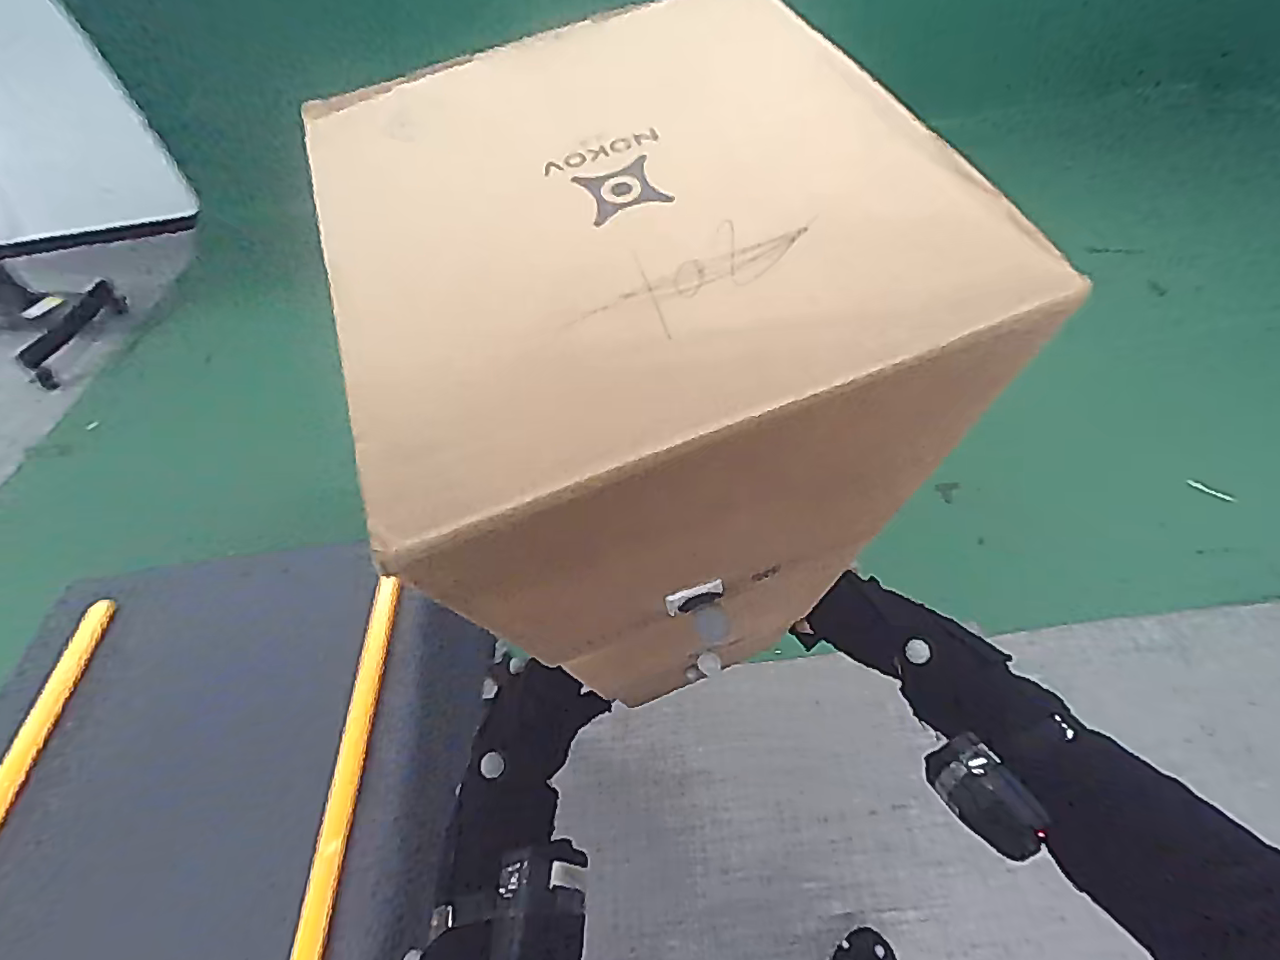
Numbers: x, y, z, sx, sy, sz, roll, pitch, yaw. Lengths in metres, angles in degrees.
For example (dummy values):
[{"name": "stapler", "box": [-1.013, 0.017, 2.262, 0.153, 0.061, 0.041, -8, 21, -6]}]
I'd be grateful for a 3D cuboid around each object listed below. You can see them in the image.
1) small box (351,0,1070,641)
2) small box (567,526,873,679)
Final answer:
[{"name": "small box", "box": [0.008, -0.051, 0.234, 0.168, 0.176, 0.179, -21, 65, -4]}, {"name": "small box", "box": [0.022, 0.020, 0.379, 0.168, 0.176, 0.179, -20, 64, -5]}]
